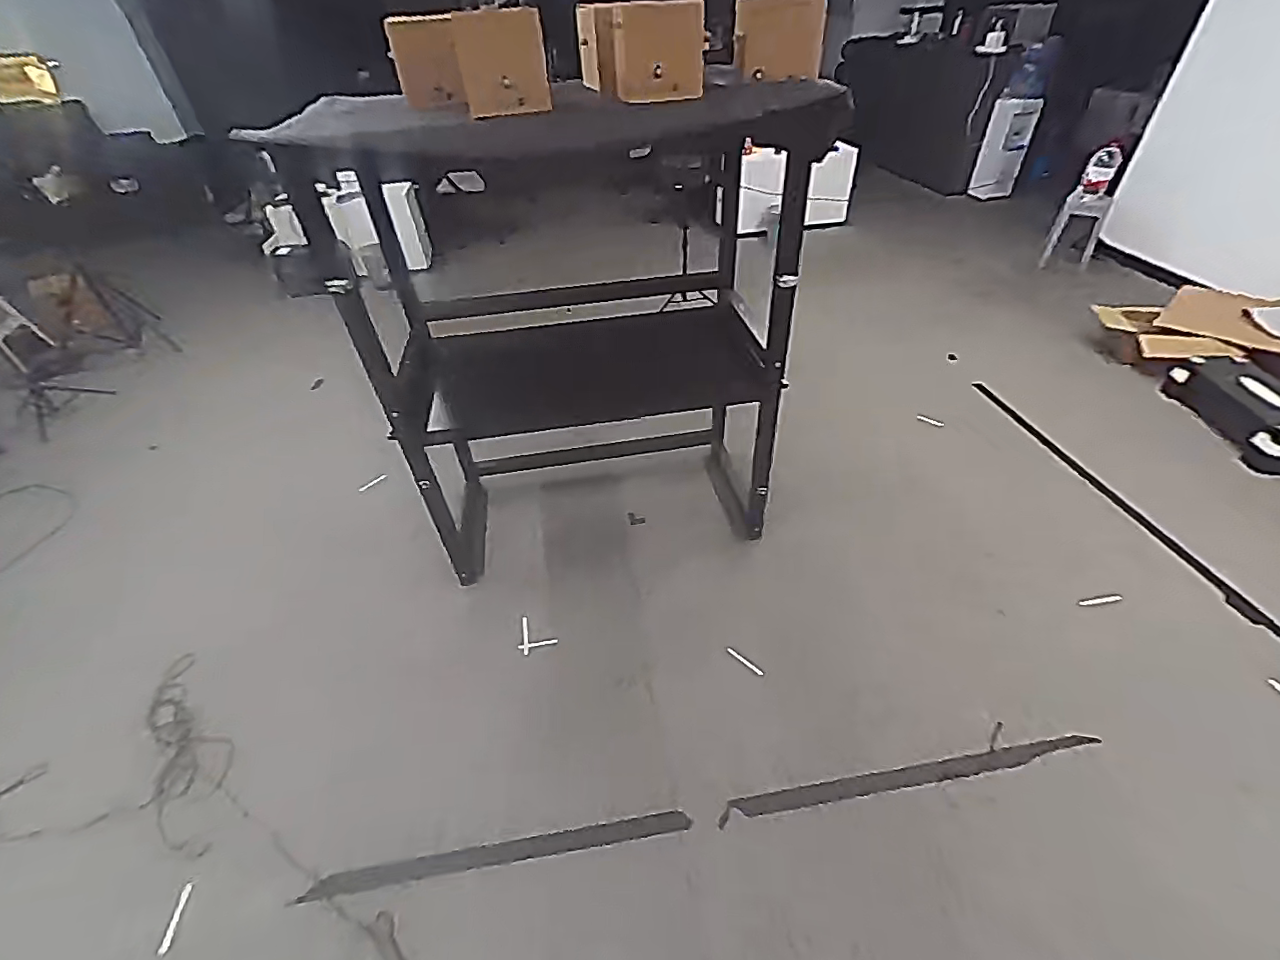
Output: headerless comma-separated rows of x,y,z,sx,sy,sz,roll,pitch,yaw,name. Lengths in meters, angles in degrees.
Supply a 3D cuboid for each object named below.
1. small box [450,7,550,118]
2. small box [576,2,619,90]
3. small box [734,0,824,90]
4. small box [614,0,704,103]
-0.289,-0.868,1.130,0.168,0.176,0.179,-13,40,-9,small box
-0.058,-1.119,1.393,0.168,0.176,0.179,-15,43,-12,small box
0.306,-0.989,1.216,0.168,0.176,0.179,-3,40,2,small box
0.038,-0.932,1.178,0.168,0.176,0.179,-9,41,-5,small box
